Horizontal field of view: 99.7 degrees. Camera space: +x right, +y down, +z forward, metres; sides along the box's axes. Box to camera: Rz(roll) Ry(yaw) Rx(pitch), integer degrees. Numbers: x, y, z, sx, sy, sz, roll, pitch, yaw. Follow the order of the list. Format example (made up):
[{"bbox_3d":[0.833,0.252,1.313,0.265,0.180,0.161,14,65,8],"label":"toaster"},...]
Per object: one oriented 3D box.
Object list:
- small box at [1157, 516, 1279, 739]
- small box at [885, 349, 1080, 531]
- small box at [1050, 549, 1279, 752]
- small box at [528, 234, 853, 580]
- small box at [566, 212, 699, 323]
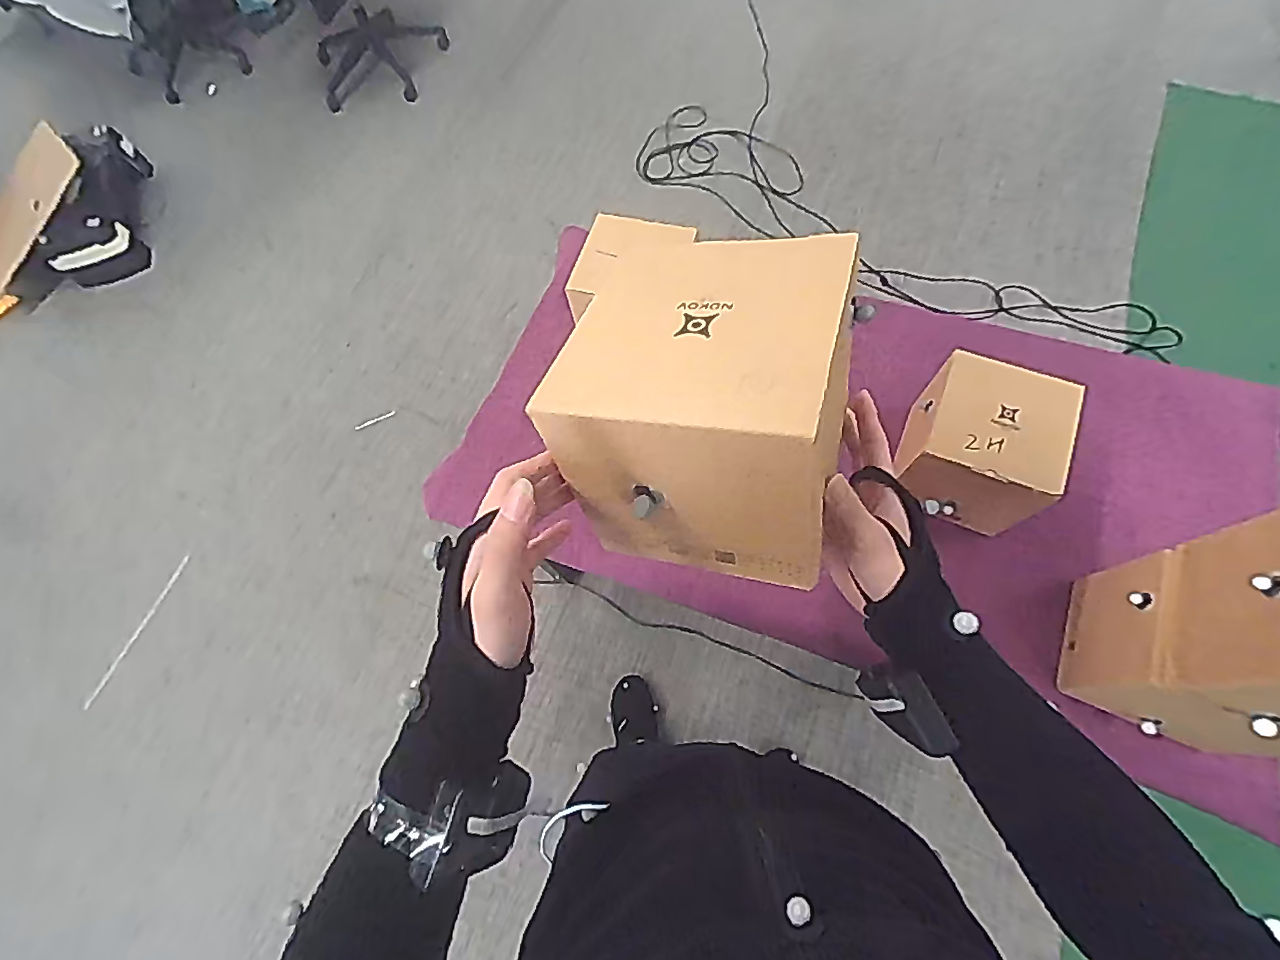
[{"bbox_3d":[0.646,0.144,0.510,0.168,0.176,0.179,22,71,15],"label":"small box"},{"bbox_3d":[0.480,-0.051,0.782,0.168,0.176,0.179,23,72,14],"label":"small box"},{"bbox_3d":[0.656,0.209,0.659,0.179,0.176,0.168,22,71,14],"label":"small box"},{"bbox_3d":[0.054,-0.049,0.392,0.168,0.176,0.179,8,56,23],"label":"small box"},{"bbox_3d":[-0.004,-0.322,0.932,0.179,0.176,0.168,15,70,11],"label":"small box"}]
